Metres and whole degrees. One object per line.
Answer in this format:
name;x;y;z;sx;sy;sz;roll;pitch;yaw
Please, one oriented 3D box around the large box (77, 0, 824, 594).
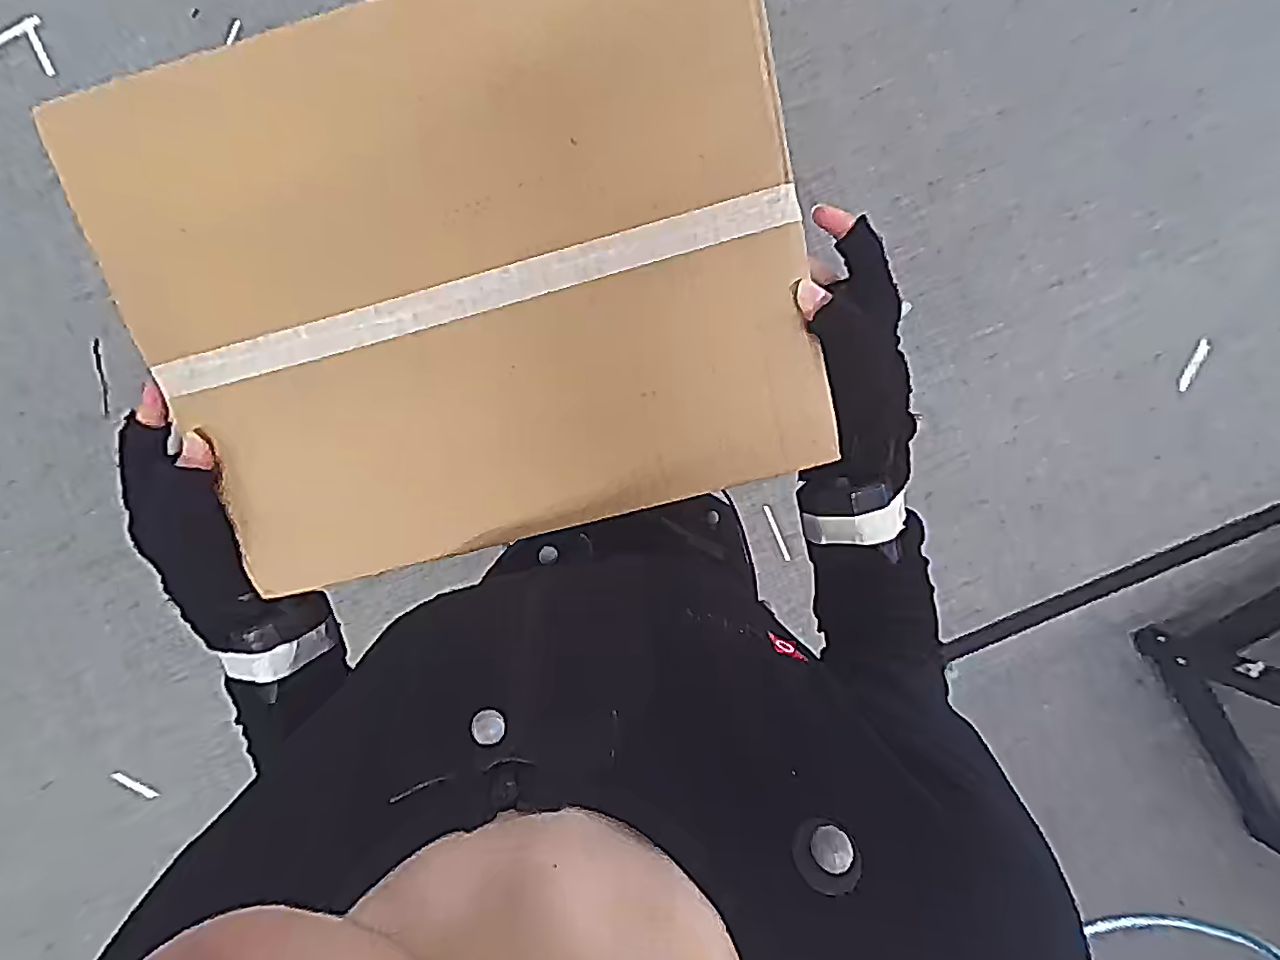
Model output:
large box;-0.102;-0.146;0.483;0.408;0.320;0.320;-14;103;4
